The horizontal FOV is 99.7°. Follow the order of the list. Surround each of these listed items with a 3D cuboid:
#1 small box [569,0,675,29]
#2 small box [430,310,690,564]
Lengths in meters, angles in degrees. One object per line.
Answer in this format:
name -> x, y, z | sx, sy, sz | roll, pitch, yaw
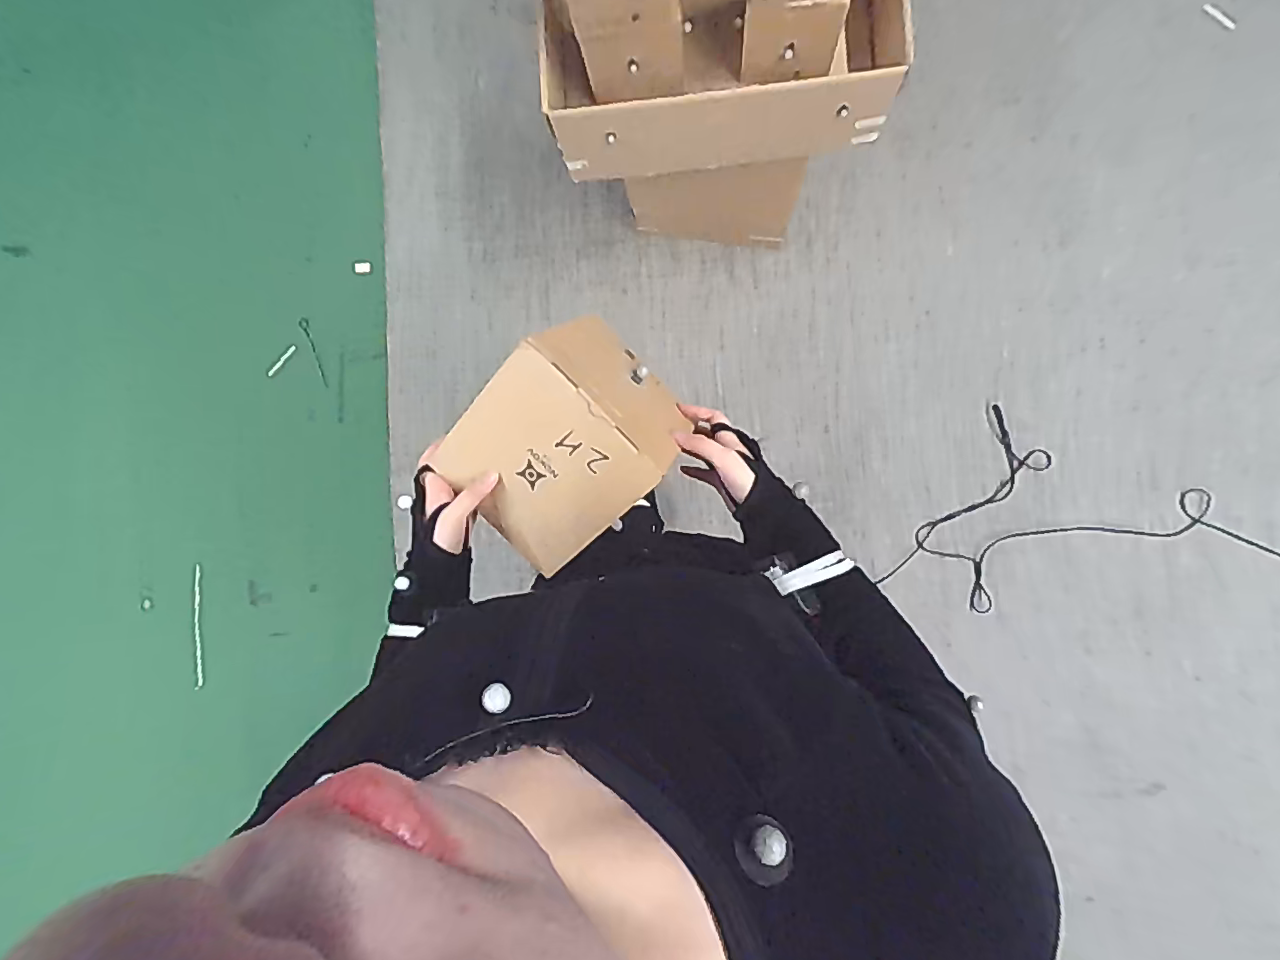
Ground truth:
small box -> -0.035, -0.825, 0.812 | 0.168, 0.176, 0.179 | -2, 87, 6
small box -> -0.070, -0.051, 0.562 | 0.168, 0.176, 0.179 | 46, 118, -7
